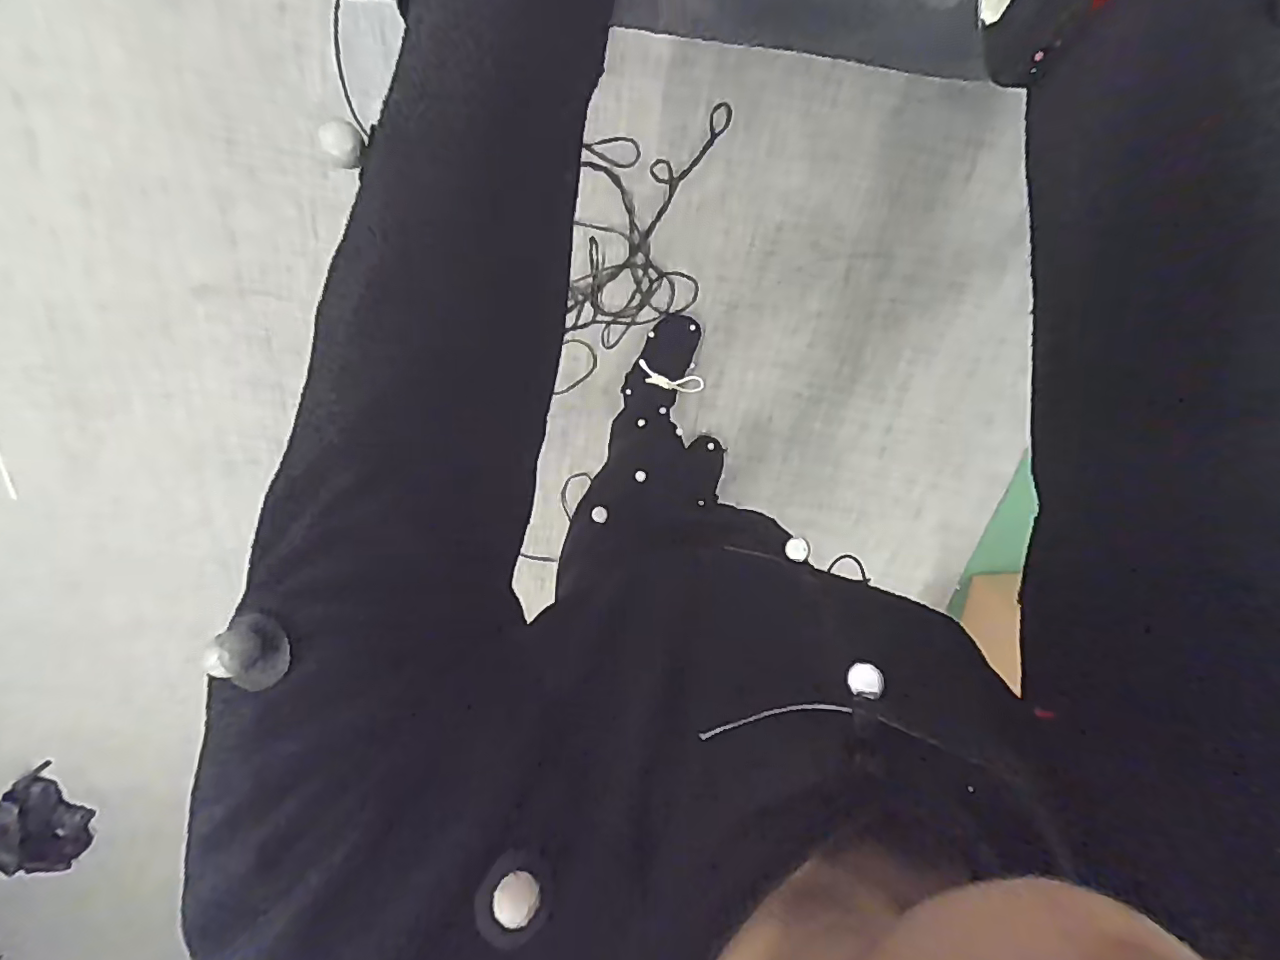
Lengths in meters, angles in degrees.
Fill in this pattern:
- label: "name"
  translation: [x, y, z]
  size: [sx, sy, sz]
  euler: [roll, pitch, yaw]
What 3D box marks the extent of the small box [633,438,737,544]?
- label: "small box"
  translation: [0.108, 0.032, 1.247]
  size: [0.176, 0.168, 0.179]
  euler: [-14, 120, 26]
